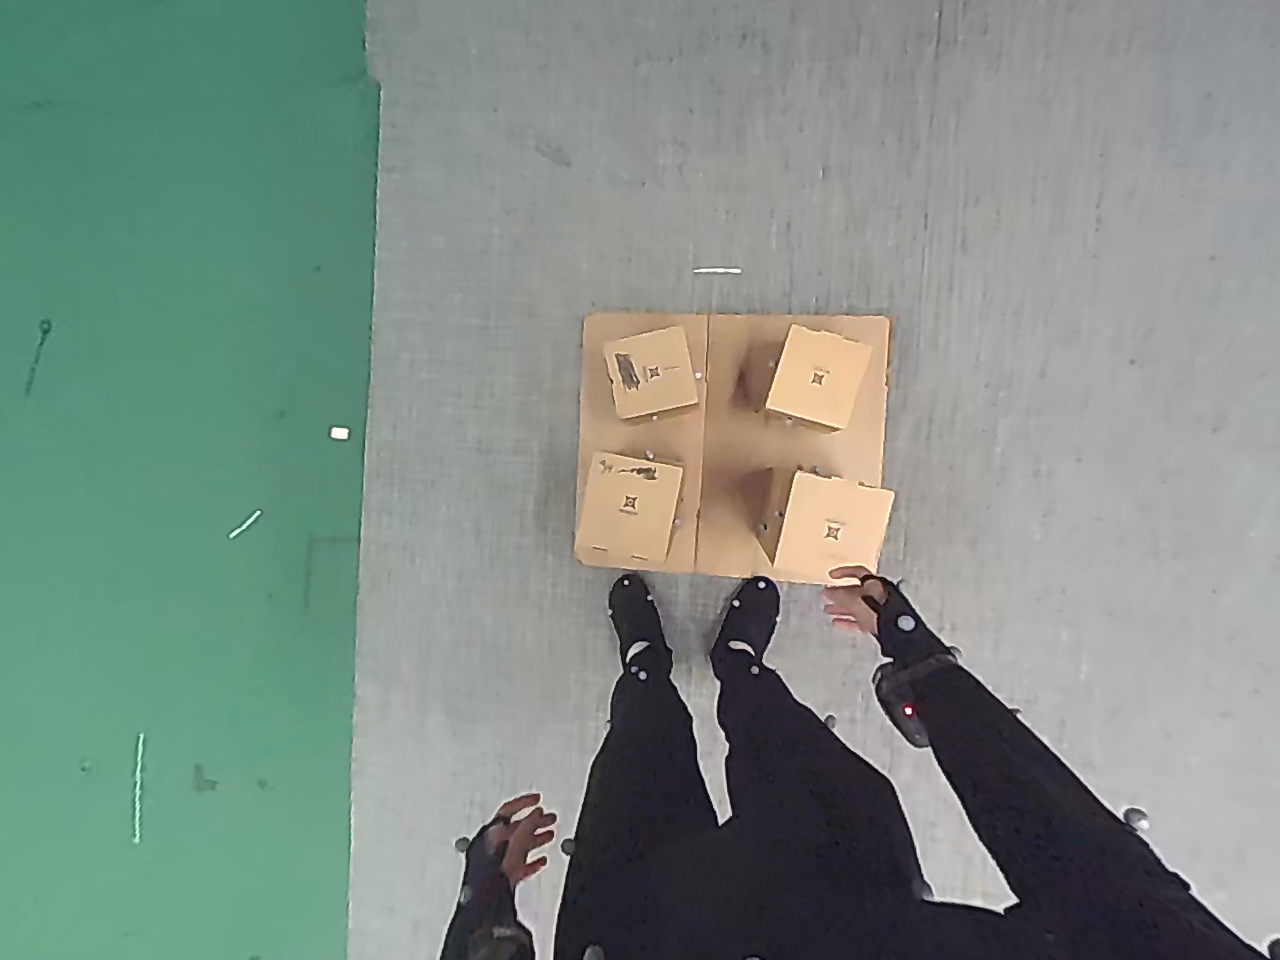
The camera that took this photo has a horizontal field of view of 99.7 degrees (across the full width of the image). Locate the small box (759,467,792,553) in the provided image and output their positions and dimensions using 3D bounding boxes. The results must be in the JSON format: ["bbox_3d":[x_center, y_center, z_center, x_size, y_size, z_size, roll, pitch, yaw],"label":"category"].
[{"bbox_3d":[0.352,0.073,1.148,0.168,0.176,0.179,11,92,7],"label":"small box"}]

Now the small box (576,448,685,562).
[{"bbox_3d":[-0.010,0.042,1.037,0.168,0.176,0.179,12,93,7],"label":"small box"}]

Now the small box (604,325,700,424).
[{"bbox_3d":[0.032,-0.223,1.194,0.179,0.176,0.168,-11,89,7],"label":"small box"}]

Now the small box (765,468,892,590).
[{"bbox_3d":[0.332,0.080,0.987,0.168,0.176,0.179,13,93,8],"label":"small box"}]
